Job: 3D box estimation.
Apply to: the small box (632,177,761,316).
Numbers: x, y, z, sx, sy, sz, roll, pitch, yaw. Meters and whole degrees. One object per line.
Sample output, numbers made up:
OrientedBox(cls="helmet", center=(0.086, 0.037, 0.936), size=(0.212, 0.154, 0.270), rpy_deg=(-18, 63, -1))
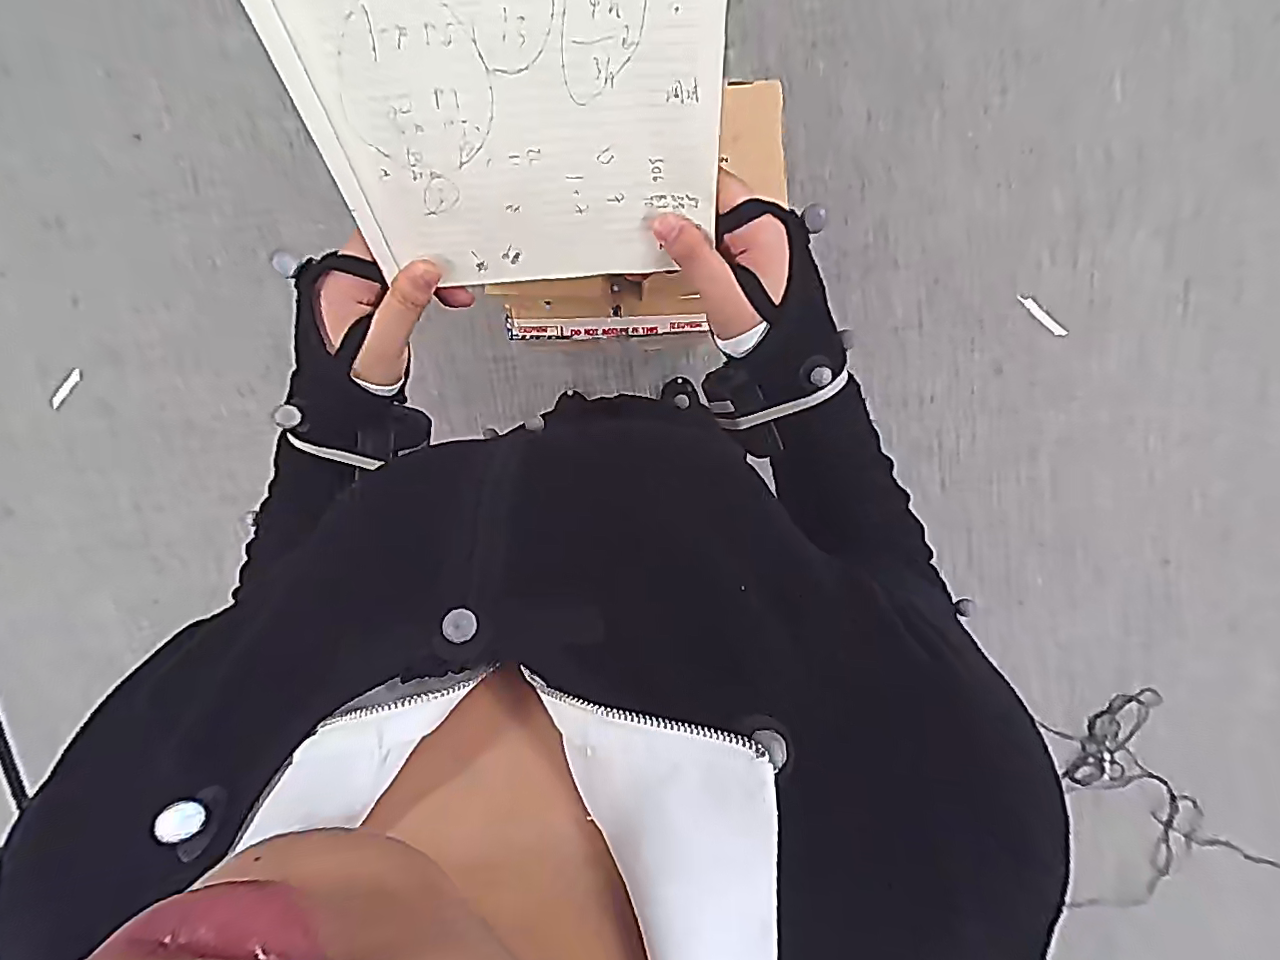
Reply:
OrientedBox(cls="small box", center=(0.084, -0.364, 0.870), size=(0.179, 0.176, 0.168), rpy_deg=(-7, 101, 0))

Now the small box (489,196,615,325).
OrientedBox(cls="small box", center=(-0.132, -0.344, 0.874), size=(0.179, 0.176, 0.168), rpy_deg=(2, 102, 2))
